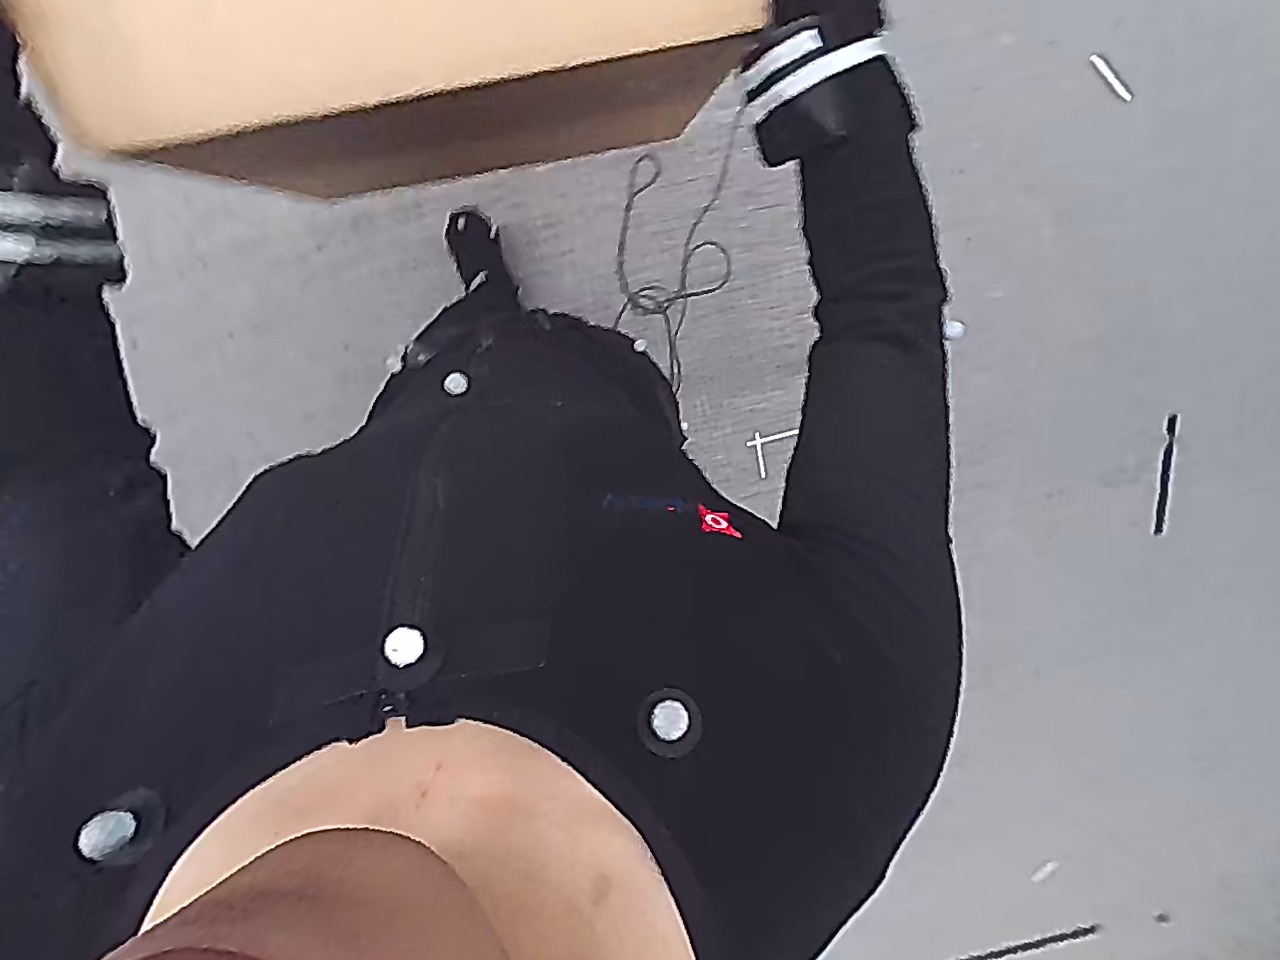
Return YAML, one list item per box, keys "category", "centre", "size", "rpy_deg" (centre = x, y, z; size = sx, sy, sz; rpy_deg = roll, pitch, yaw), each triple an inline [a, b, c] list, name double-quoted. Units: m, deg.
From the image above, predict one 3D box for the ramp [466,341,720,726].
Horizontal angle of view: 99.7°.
- category: "ramp"
  centre: [-0.118, 0.167, 1.486]
  size: [0.509, 0.206, 0.991]
  rpy_deg: [-14, 107, 1]

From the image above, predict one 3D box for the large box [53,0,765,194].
- category: "large box"
  centre: [-0.159, -0.437, 0.403]
  size: [0.408, 0.320, 0.320]
  rpy_deg: [-12, 114, -2]
